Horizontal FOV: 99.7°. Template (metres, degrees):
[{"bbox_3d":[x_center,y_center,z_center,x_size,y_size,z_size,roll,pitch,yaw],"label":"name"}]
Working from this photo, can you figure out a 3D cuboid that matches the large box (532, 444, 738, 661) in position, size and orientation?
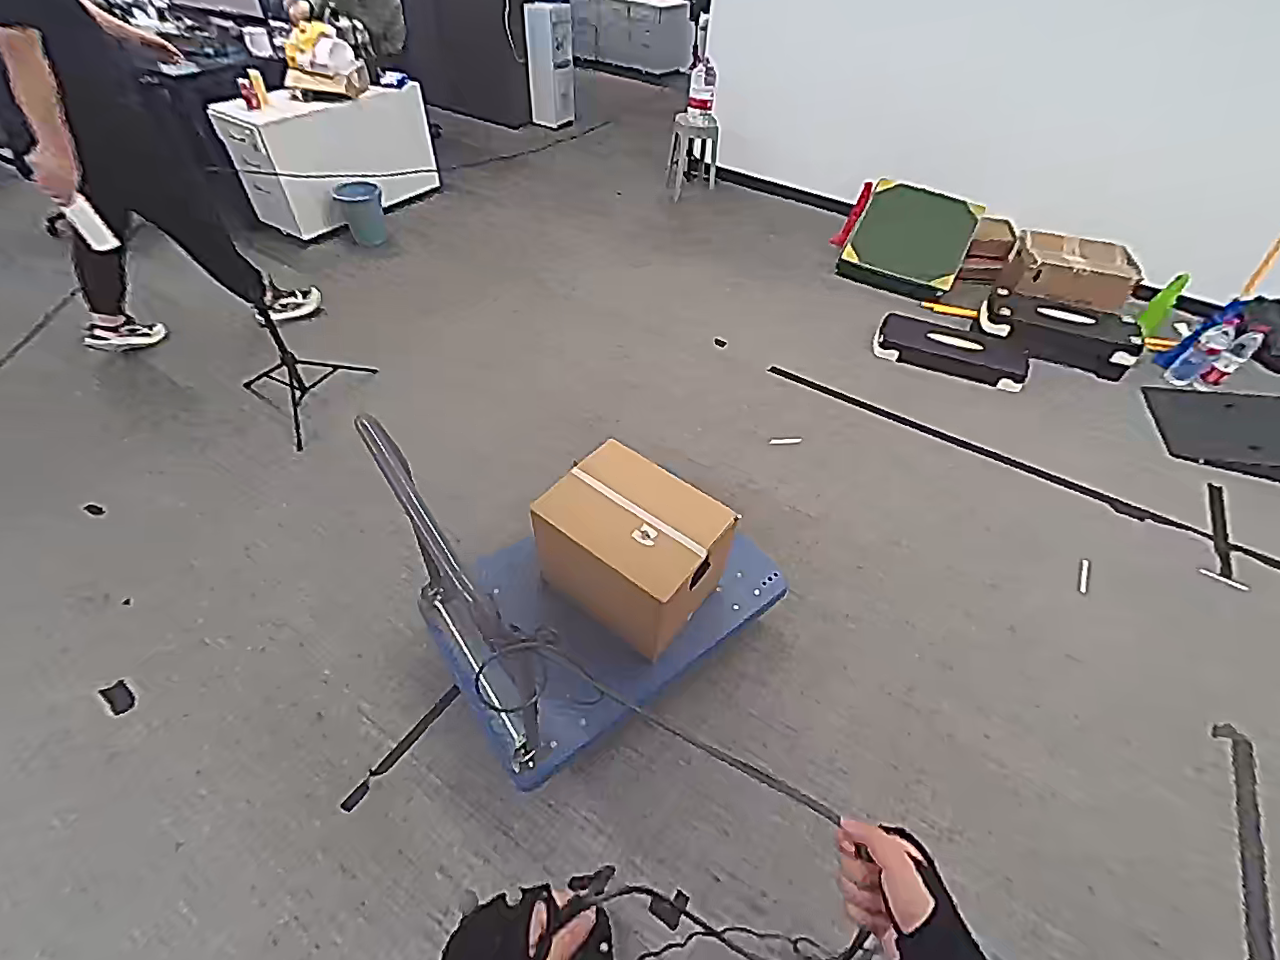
[{"bbox_3d":[-0.021,0.180,1.395,0.408,0.320,0.320,32,55,21],"label":"large box"}]
